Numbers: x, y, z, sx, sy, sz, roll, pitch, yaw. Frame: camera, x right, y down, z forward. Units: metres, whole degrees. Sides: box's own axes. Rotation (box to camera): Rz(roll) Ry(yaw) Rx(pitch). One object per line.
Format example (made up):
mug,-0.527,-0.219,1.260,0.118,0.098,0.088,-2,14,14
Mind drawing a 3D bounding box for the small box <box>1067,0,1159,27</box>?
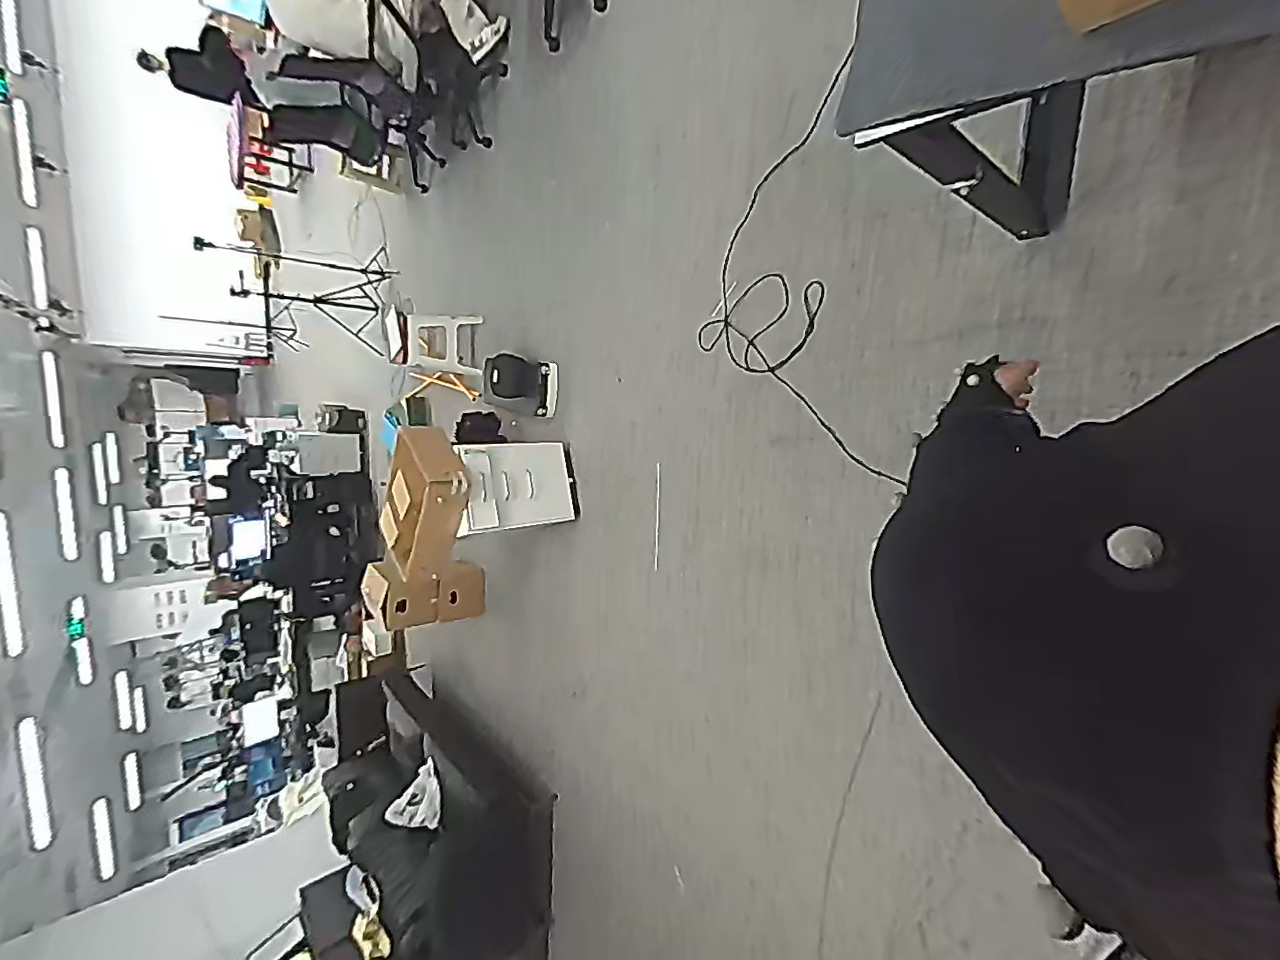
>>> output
small box,0.483,-0.573,0.485,0.168,0.176,0.179,11,101,50
